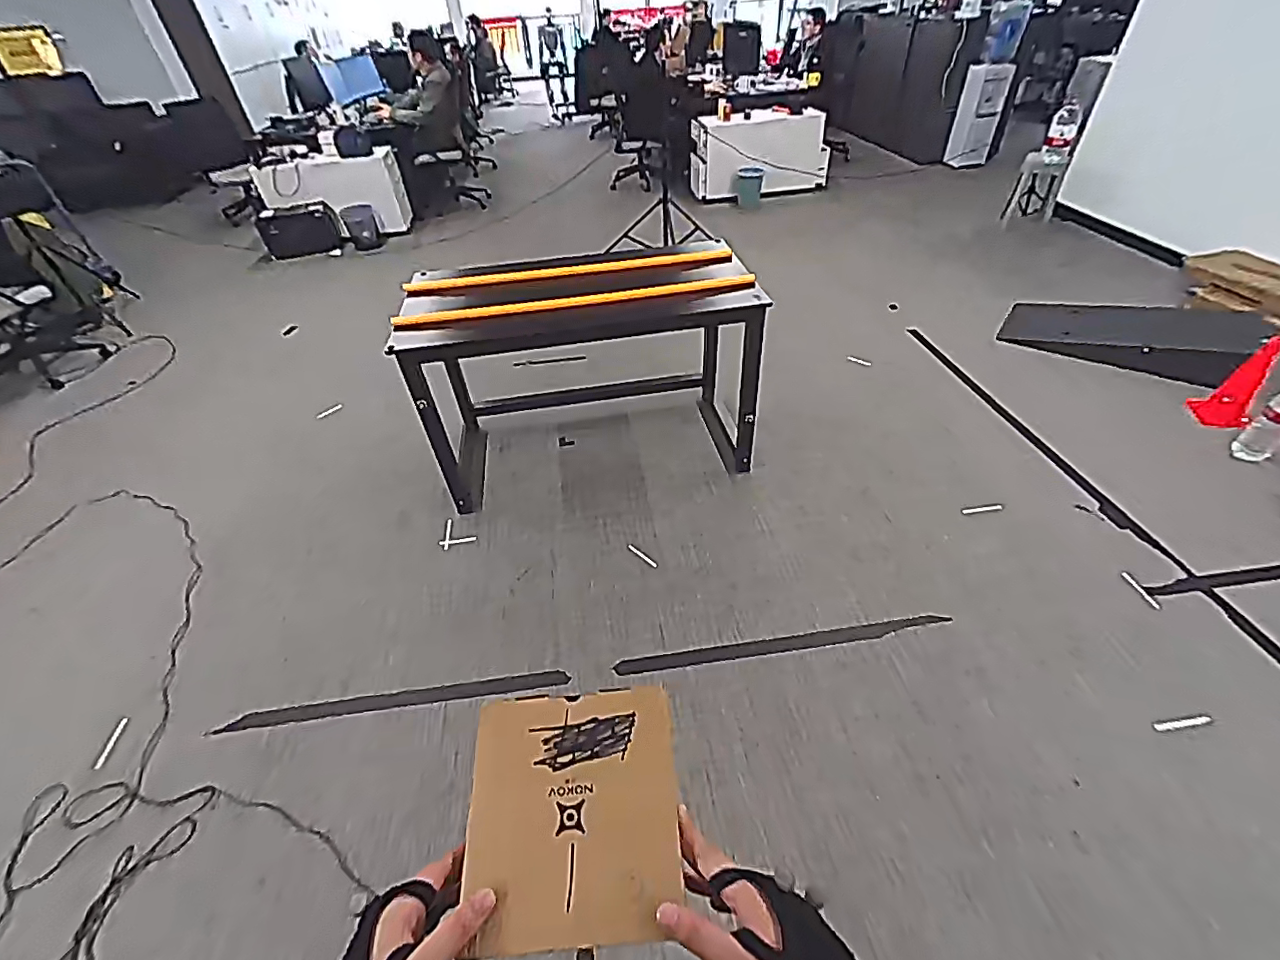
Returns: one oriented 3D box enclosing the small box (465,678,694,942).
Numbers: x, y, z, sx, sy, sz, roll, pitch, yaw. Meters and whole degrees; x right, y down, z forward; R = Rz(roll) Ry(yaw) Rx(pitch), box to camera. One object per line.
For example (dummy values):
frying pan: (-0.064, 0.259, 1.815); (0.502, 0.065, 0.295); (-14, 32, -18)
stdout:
small box: (-0.044, 0.302, 0.496); (0.168, 0.176, 0.179); (-6, 52, 0)
